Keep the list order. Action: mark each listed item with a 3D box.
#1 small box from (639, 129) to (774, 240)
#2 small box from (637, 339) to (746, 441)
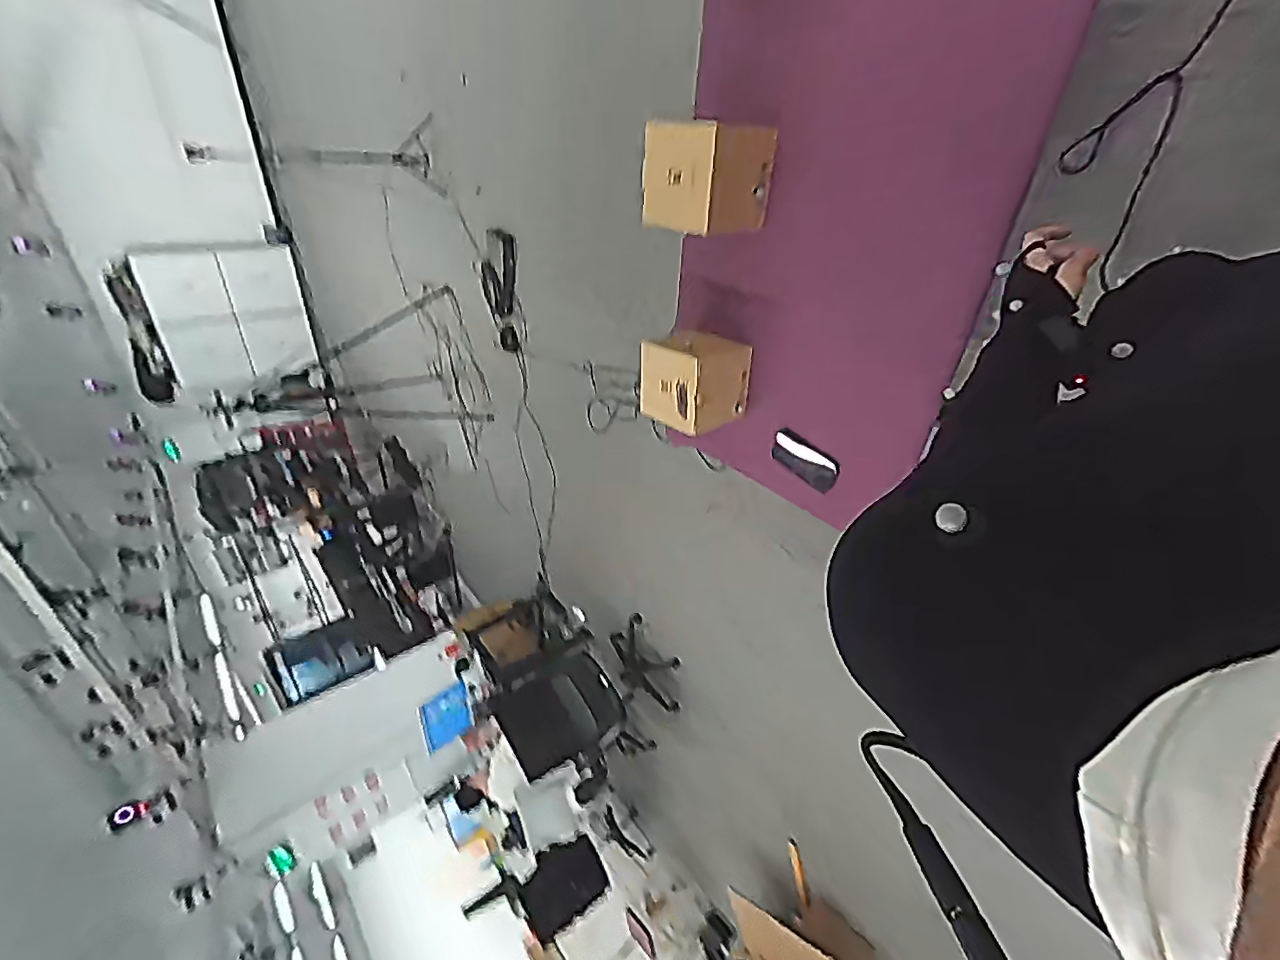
[{"bbox_3d":[0.120,-0.551,1.009,0.179,0.176,0.168,32,132,39],"label":"small box"},{"bbox_3d":[0.112,-0.207,1.191,0.179,0.176,0.168,30,129,42],"label":"small box"}]
